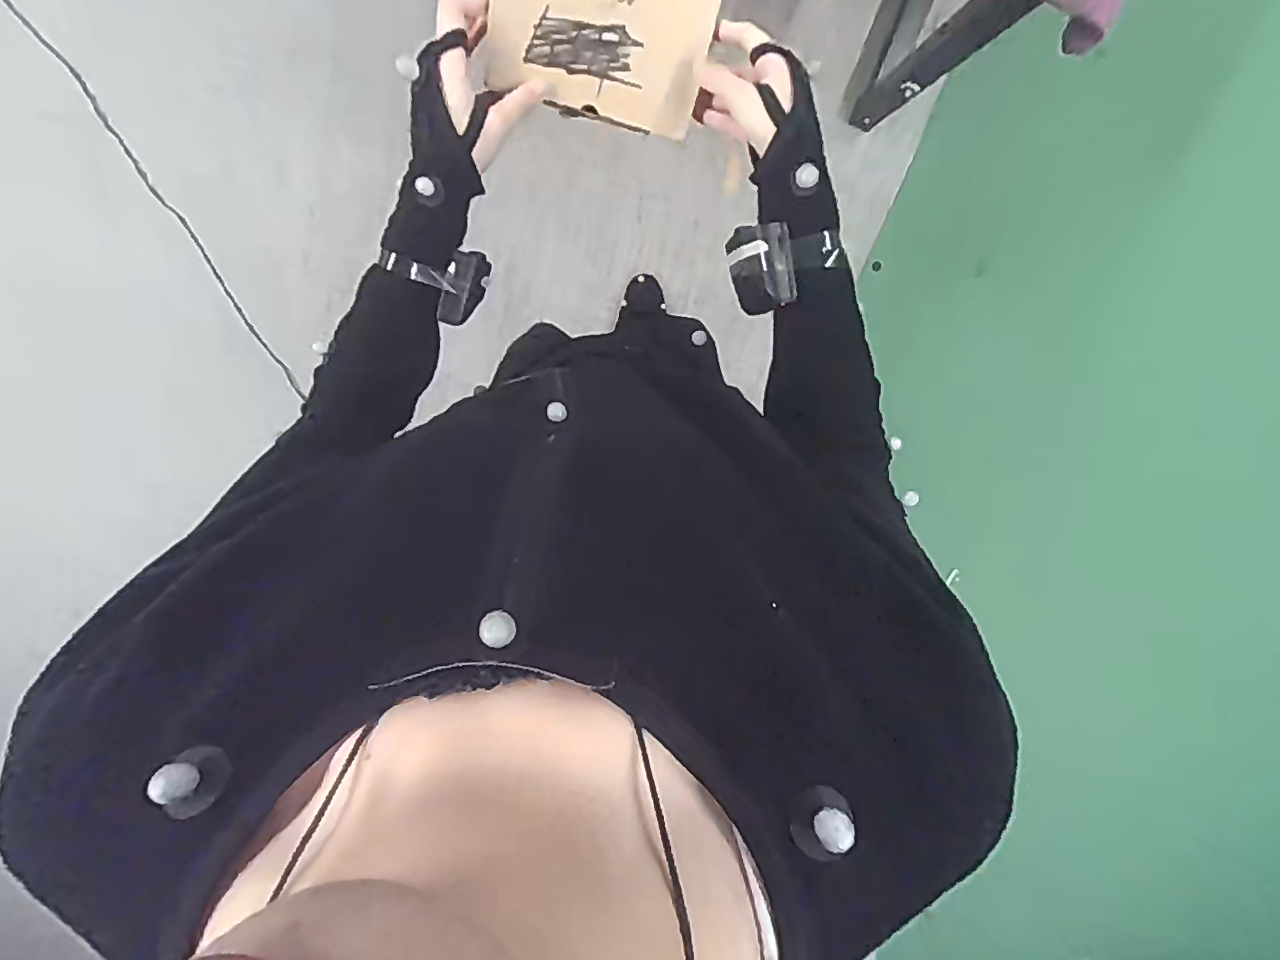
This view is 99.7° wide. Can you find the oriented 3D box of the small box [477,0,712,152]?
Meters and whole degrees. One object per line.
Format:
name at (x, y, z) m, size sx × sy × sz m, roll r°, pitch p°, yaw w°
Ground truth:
small box at (-0.037, -0.402, 0.450) m, size 0.168 × 0.176 × 0.179 m, roll 6°, pitch 126°, yaw -14°
